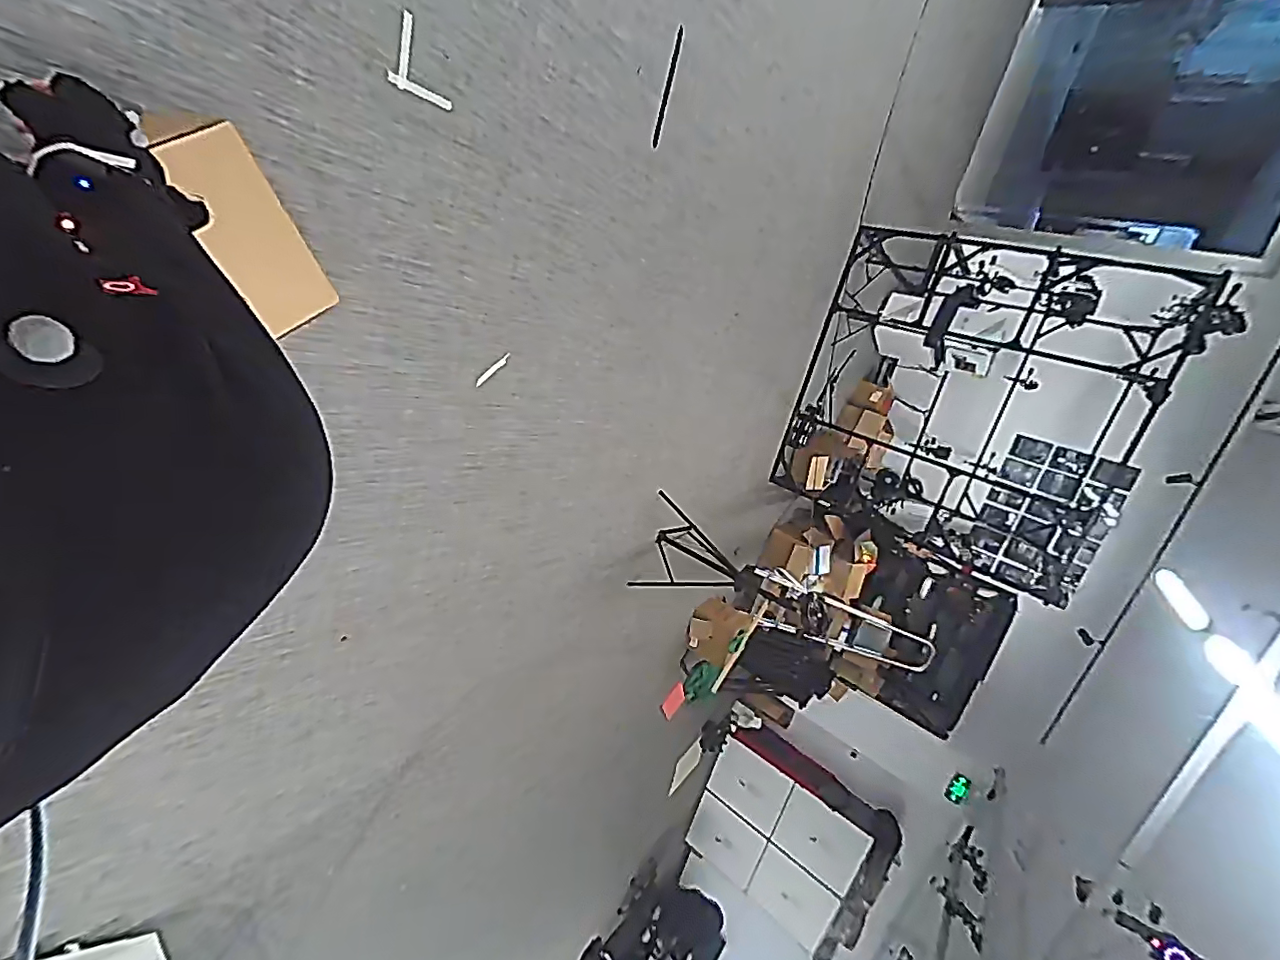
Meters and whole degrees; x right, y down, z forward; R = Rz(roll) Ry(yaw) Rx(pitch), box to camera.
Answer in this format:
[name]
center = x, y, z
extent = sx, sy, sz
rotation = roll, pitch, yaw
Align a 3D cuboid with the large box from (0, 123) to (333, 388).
[large box]
center = -0.860, -0.415, 0.975
extent = 0.320, 0.408, 0.320
rotation = -47, 144, -28
